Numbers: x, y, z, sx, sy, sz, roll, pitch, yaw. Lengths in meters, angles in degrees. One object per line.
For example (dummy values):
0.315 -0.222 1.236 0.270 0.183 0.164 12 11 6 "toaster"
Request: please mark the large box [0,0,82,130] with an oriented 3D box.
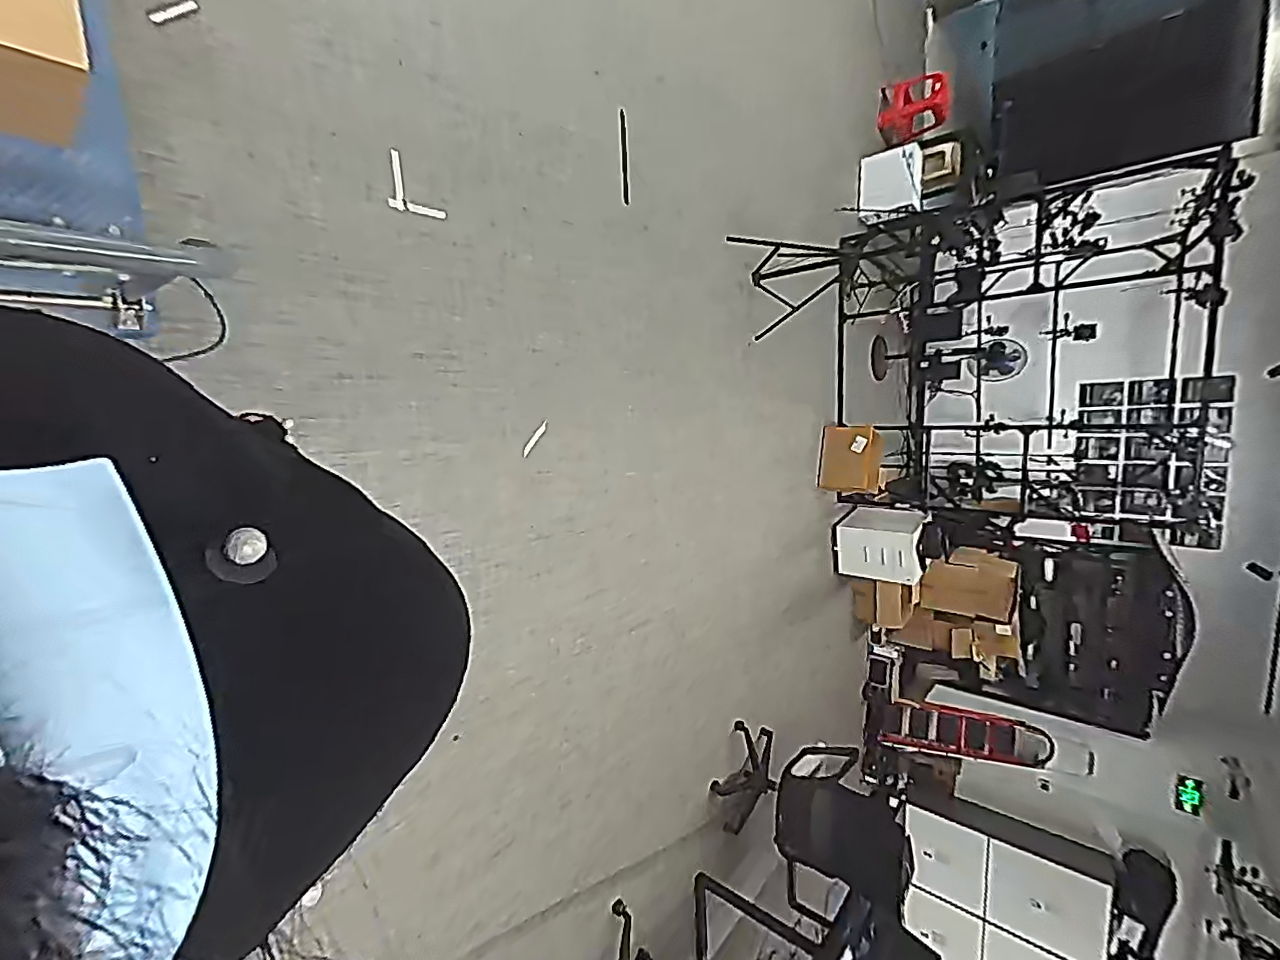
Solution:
-1.008 -0.701 0.661 0.408 0.320 0.320 -12 102 -48 "large box"
